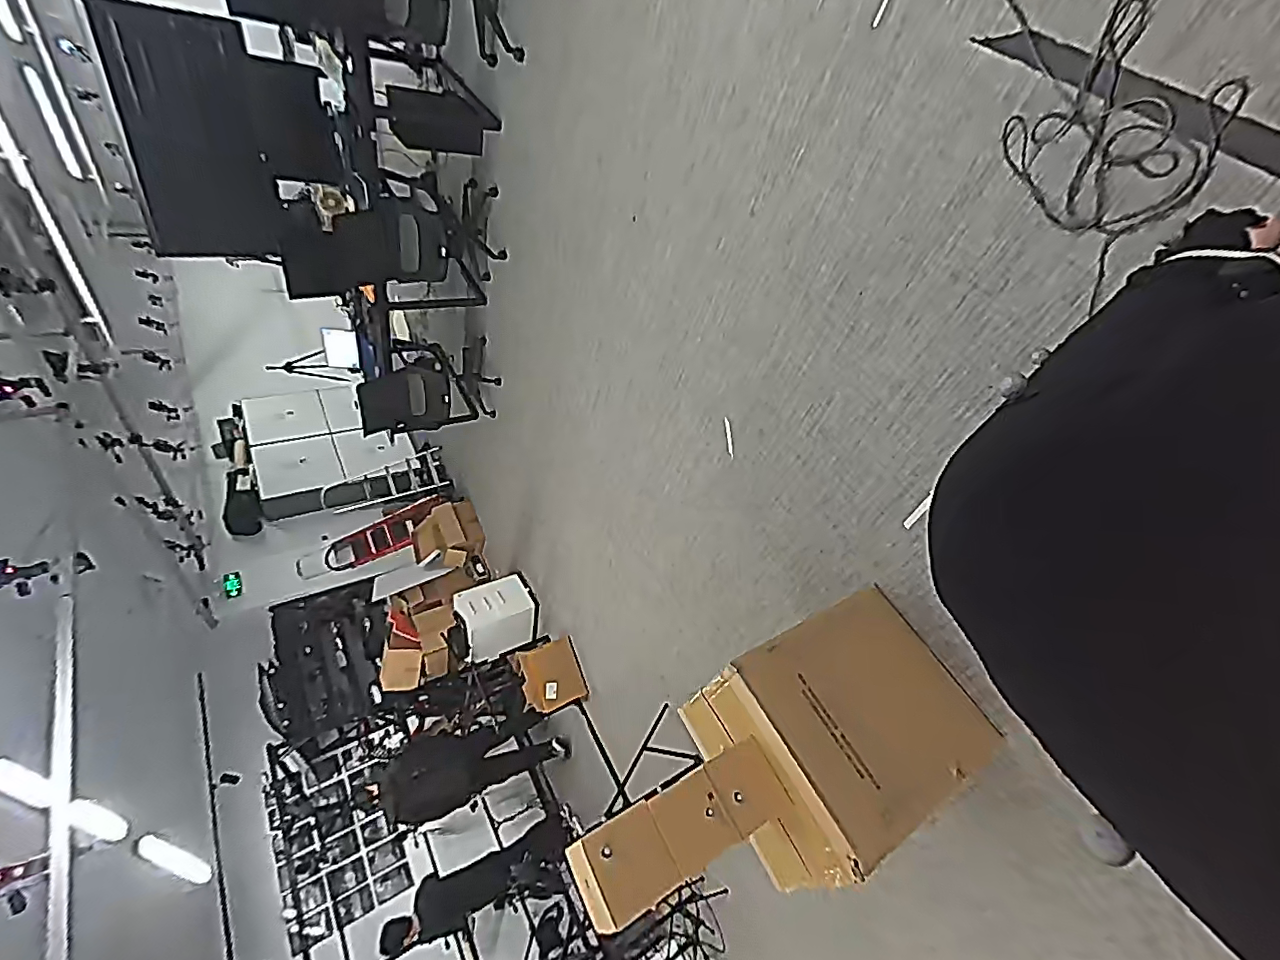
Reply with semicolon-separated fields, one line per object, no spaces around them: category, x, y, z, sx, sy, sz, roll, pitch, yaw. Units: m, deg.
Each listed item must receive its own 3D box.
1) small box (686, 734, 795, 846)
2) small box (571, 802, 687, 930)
small box;0.251;0.772;1.352;0.179;0.176;0.168;58;145;27
small box;-0.027;0.840;1.189;0.179;0.176;0.168;57;145;27
